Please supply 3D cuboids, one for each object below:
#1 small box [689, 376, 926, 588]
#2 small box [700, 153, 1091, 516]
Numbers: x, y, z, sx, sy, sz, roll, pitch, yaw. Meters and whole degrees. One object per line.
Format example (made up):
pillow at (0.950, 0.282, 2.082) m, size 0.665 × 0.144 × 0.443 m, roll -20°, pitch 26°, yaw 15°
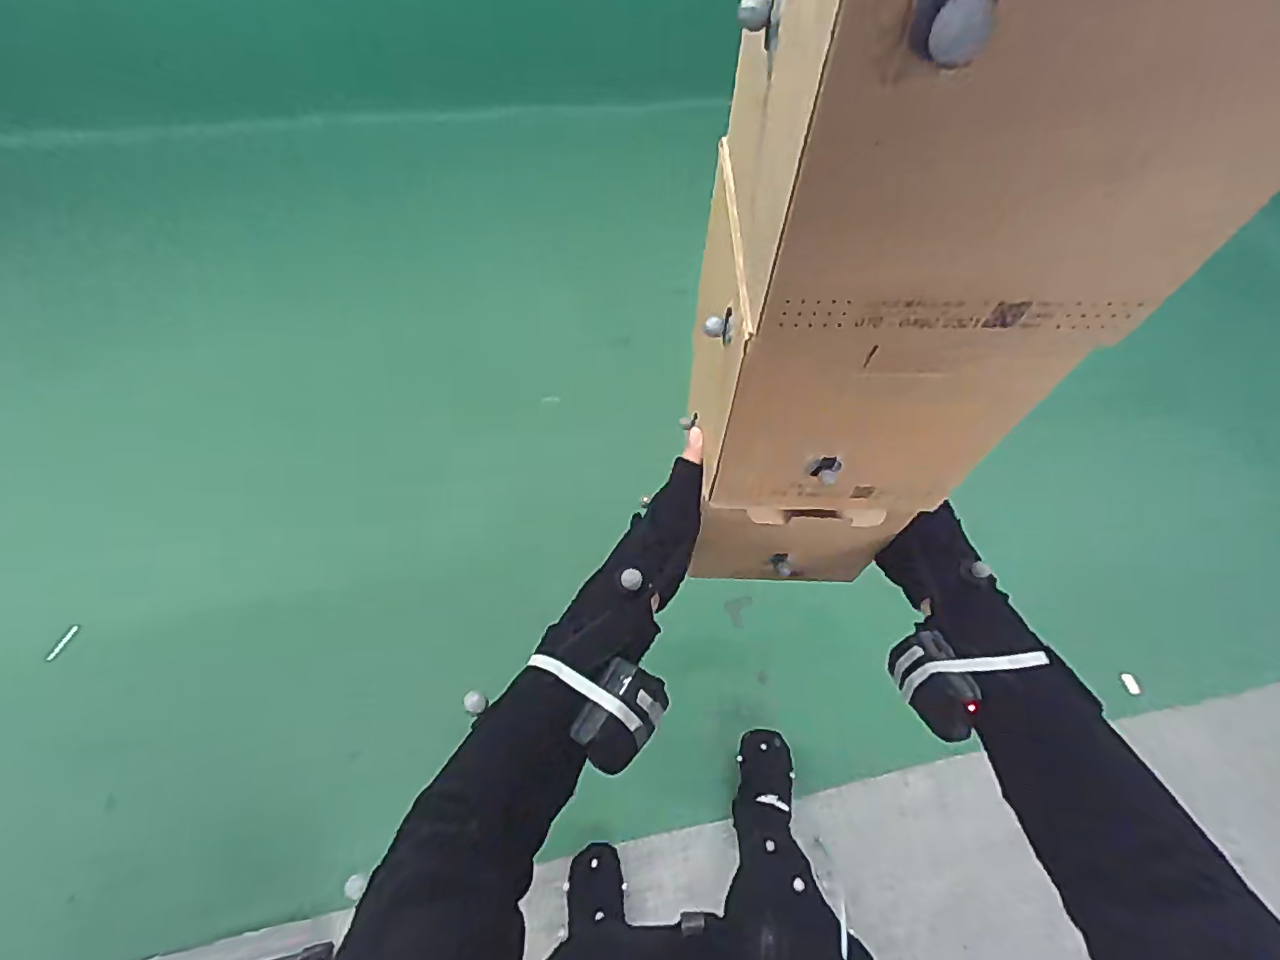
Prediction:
small box at (0.135, -0.013, 0.513) m, size 0.168 × 0.176 × 0.179 m, roll 2°, pitch 59°, yaw 1°
small box at (0.134, -0.091, 0.370) m, size 0.168 × 0.176 × 0.179 m, roll 0°, pitch 59°, yaw 0°
